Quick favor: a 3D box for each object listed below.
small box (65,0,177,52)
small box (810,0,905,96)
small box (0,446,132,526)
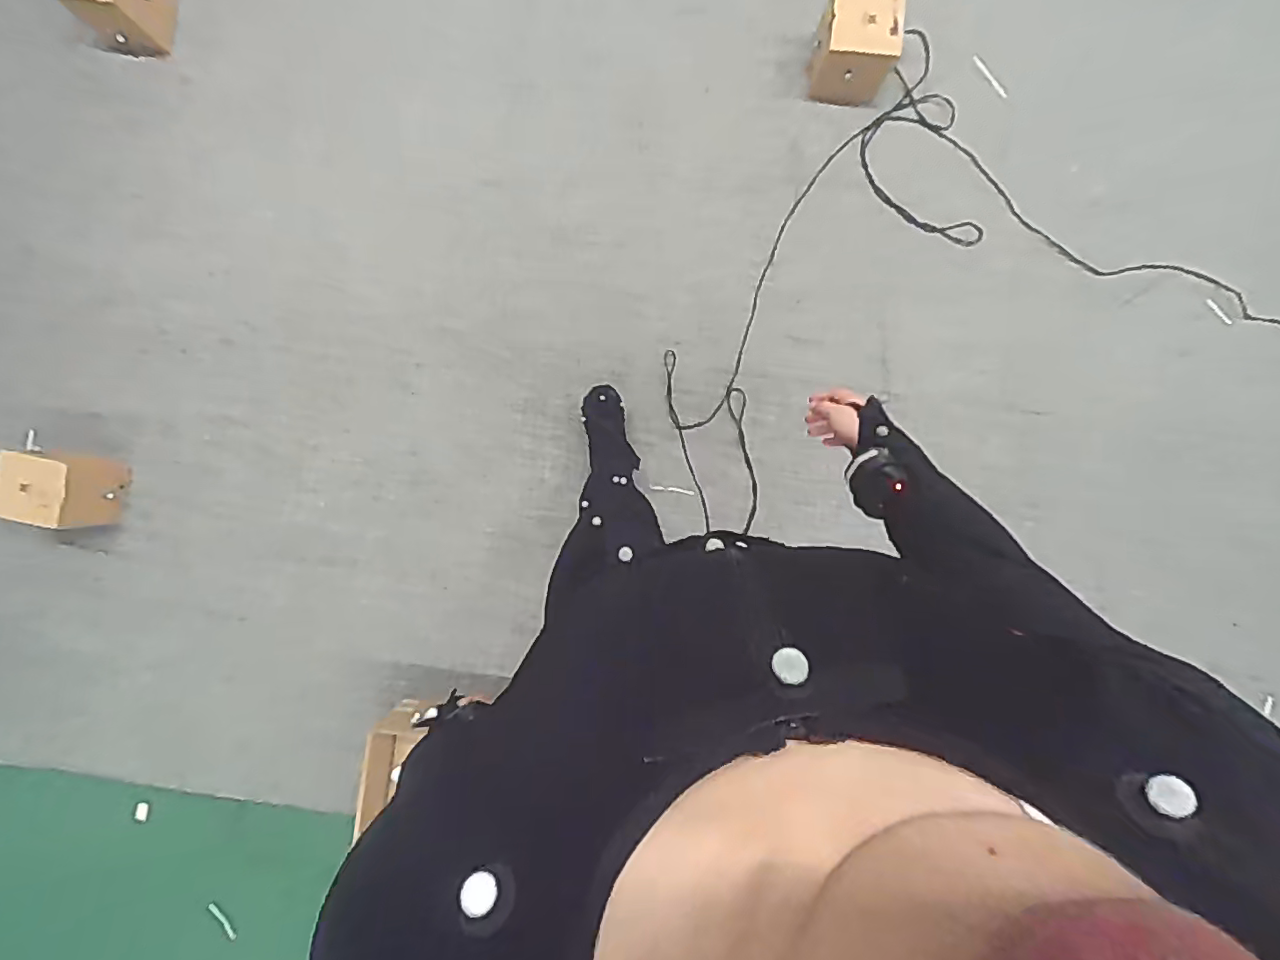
[{"bbox_3d":[-1.331,-1.248,1.373,0.168,0.176,0.179,8,92,0],"label":"small box"},{"bbox_3d":[0.540,-1.106,1.361,0.179,0.176,0.168,5,91,1],"label":"small box"},{"bbox_3d":[-1.479,0.015,1.387,0.179,0.176,0.168,13,91,0],"label":"small box"}]
